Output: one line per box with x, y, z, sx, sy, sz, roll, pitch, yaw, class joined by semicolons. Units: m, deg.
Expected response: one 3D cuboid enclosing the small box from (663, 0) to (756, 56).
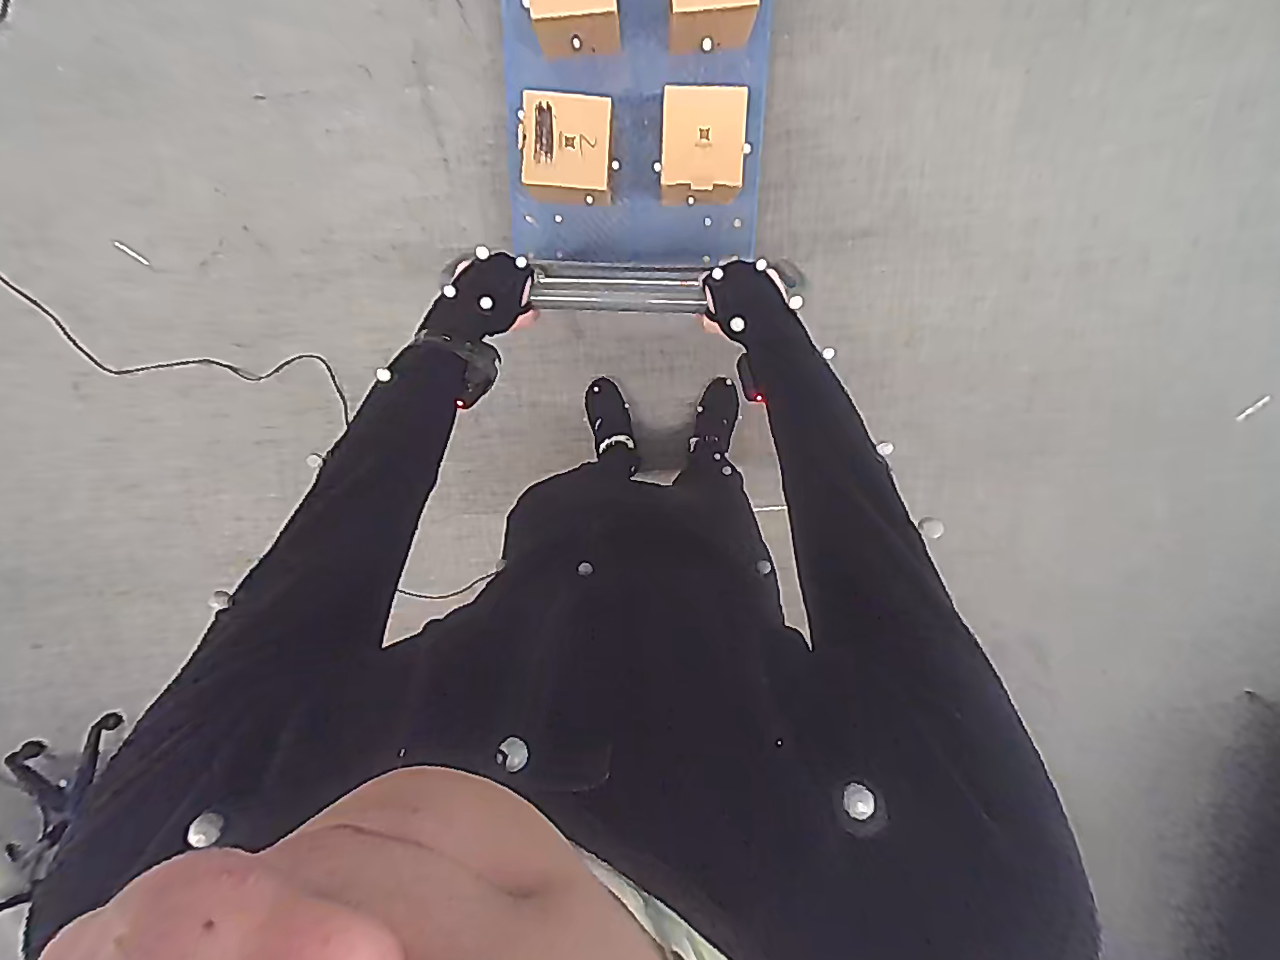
0.131;-0.985;1.069;0.168;0.176;0.179;-4;107;2;small box

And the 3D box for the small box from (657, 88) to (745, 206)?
0.122;-0.701;1.154;0.168;0.176;0.179;1;107;0;small box

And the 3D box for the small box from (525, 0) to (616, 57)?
-0.138;-0.974;1.072;0.168;0.176;0.179;-5;106;1;small box
